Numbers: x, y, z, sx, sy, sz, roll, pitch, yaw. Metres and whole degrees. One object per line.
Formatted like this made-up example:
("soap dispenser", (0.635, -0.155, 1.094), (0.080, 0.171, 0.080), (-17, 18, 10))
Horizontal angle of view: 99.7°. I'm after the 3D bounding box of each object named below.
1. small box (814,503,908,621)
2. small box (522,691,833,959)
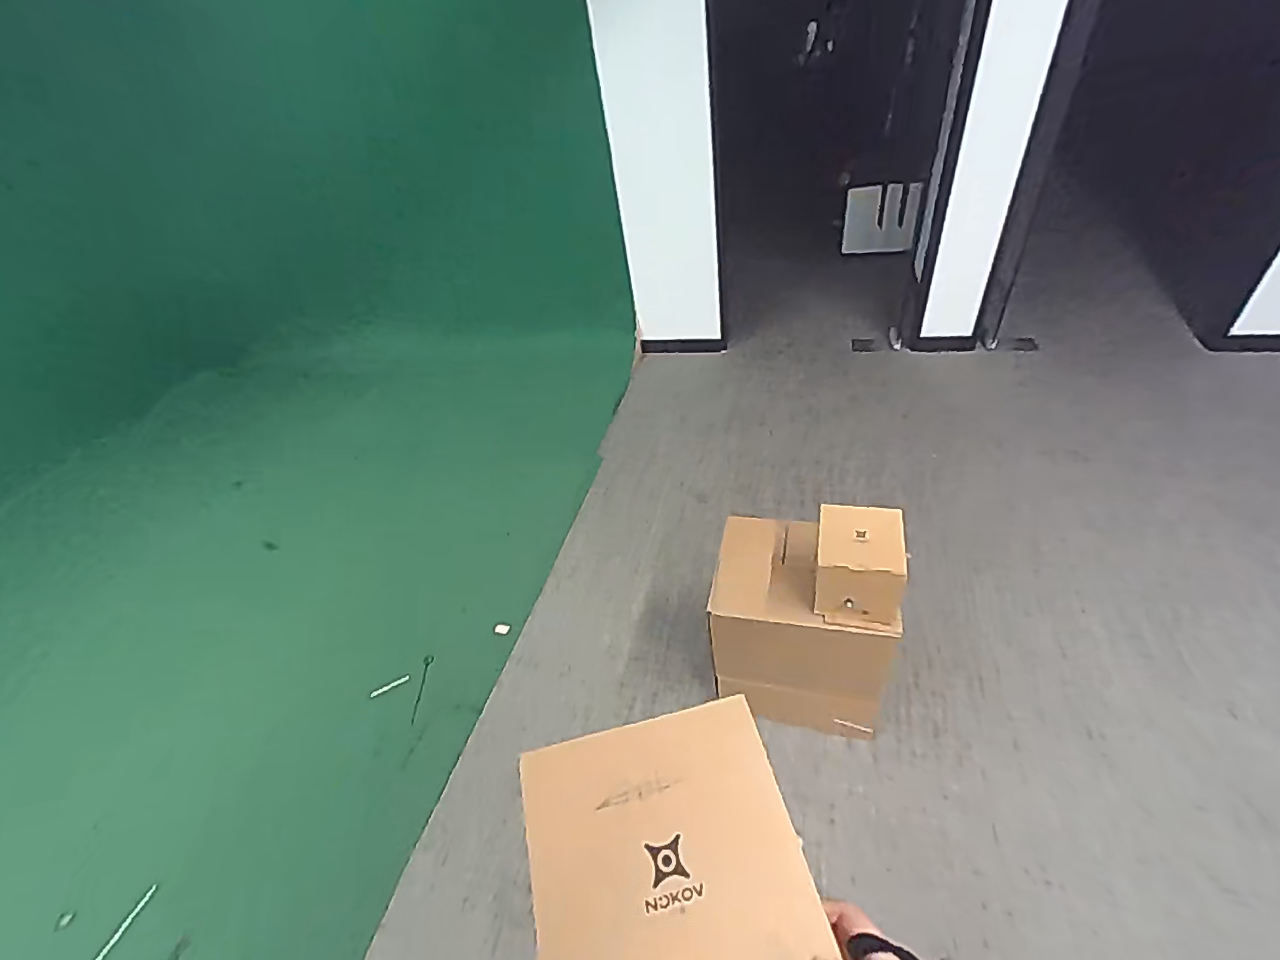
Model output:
("small box", (0.467, 0.174, 1.160), (0.168, 0.176, 0.179), (5, 44, 18))
("small box", (0.017, 0.283, 0.393), (0.168, 0.176, 0.179), (-10, 51, -8))
